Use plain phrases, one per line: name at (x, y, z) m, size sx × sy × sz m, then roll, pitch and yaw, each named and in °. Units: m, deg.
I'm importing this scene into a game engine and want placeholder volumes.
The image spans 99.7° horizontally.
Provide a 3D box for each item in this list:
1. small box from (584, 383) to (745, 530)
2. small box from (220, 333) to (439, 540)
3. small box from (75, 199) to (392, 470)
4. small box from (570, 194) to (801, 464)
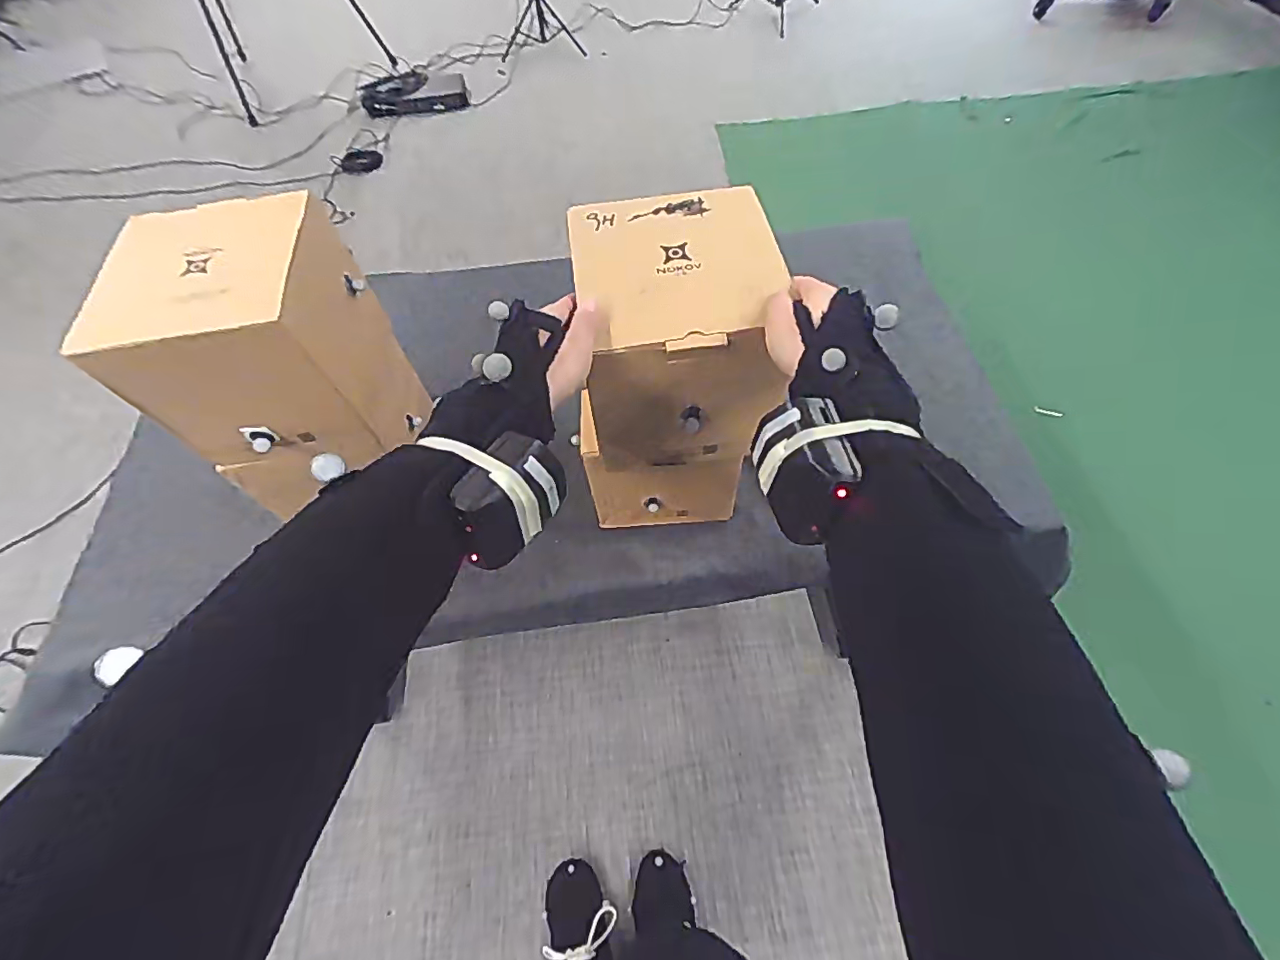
small box at (0.023, -0.057, 0.651) m, size 0.168 × 0.176 × 0.179 m, roll -4°, pitch 59°, yaw 0°
small box at (-0.357, -0.050, 0.662) m, size 0.168 × 0.176 × 0.179 m, roll -10°, pitch 59°, yaw -4°
small box at (-0.358, -0.135, 0.523) m, size 0.168 × 0.176 × 0.179 m, roll -11°, pitch 60°, yaw -2°
small box at (0.033, -0.127, 0.502) m, size 0.168 × 0.176 × 0.179 m, roll -8°, pitch 60°, yaw -2°
